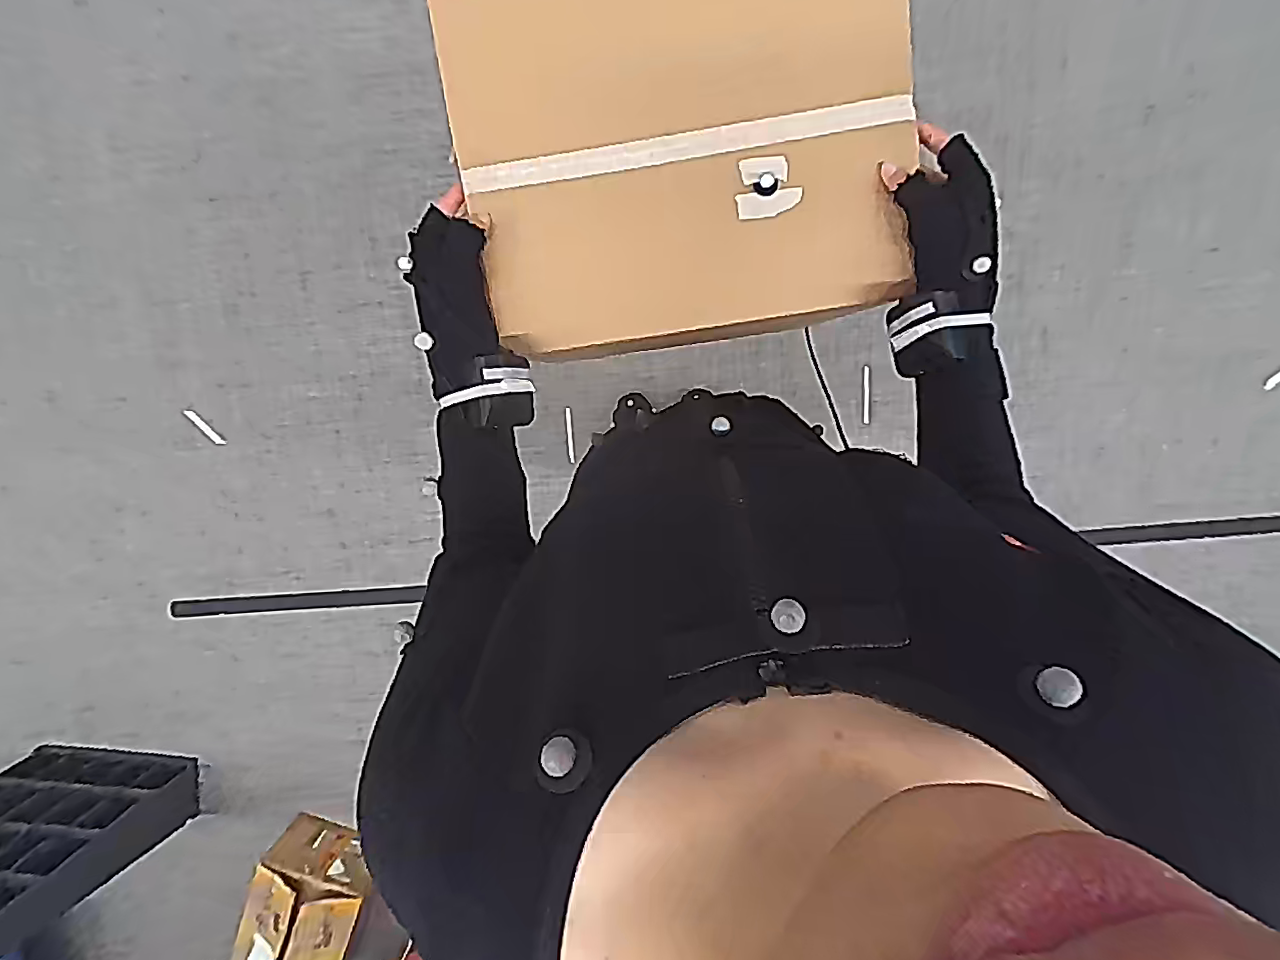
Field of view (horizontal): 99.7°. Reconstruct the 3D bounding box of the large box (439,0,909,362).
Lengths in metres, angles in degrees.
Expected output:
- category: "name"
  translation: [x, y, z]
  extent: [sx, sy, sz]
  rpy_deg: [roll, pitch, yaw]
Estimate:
- category: "large box"
  translation: [0.038, -0.331, 0.642]
  extent: [0.408, 0.320, 0.320]
  rpy_deg: [-8, 101, 2]
